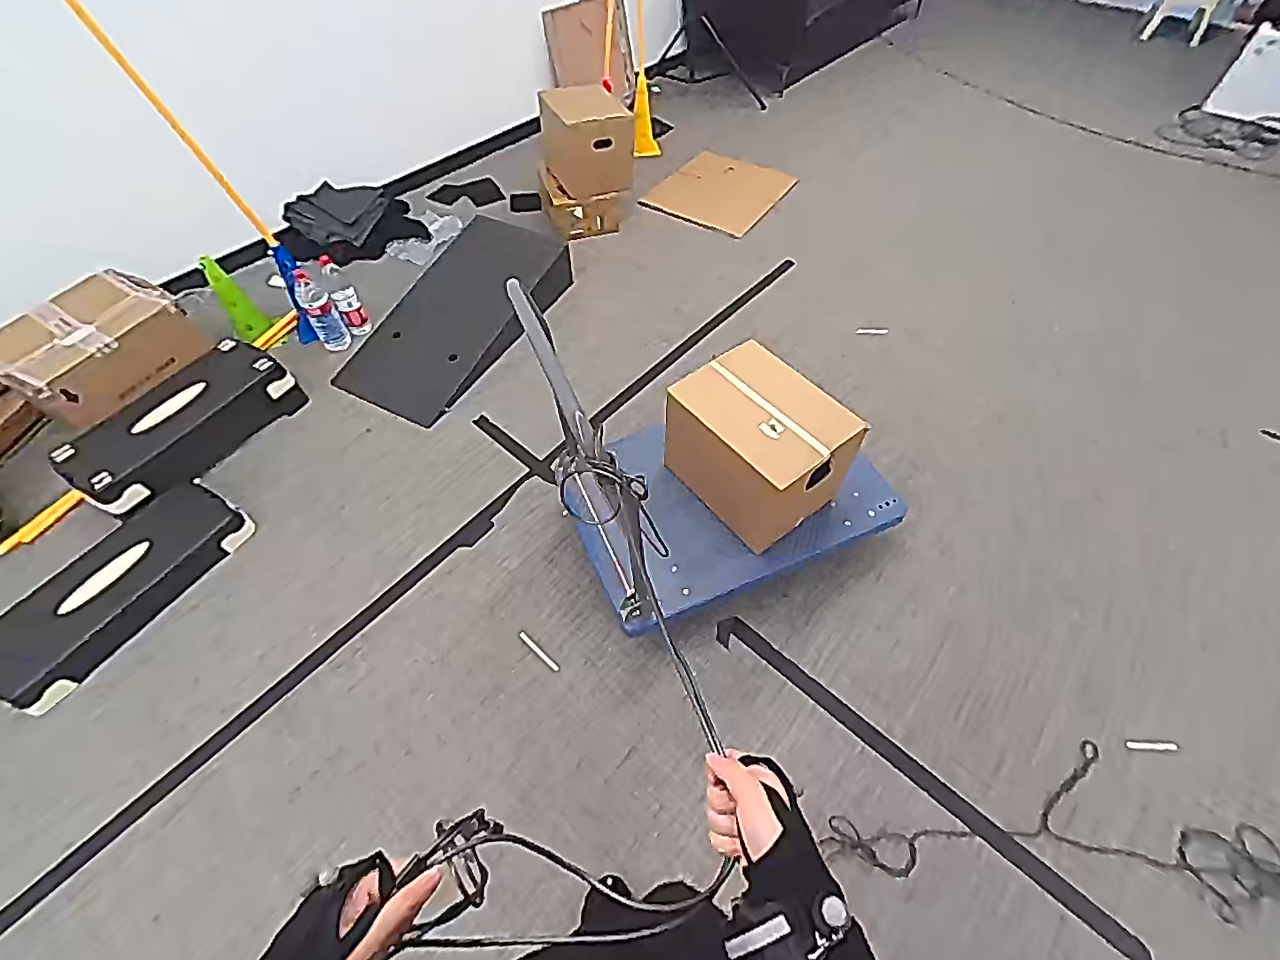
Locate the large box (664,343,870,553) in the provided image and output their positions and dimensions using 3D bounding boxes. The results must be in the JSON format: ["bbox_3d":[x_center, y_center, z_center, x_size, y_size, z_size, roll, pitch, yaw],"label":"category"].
[{"bbox_3d":[0.310,-0.088,1.452,0.320,0.320,0.408,-33,62,-20],"label":"large box"}]
